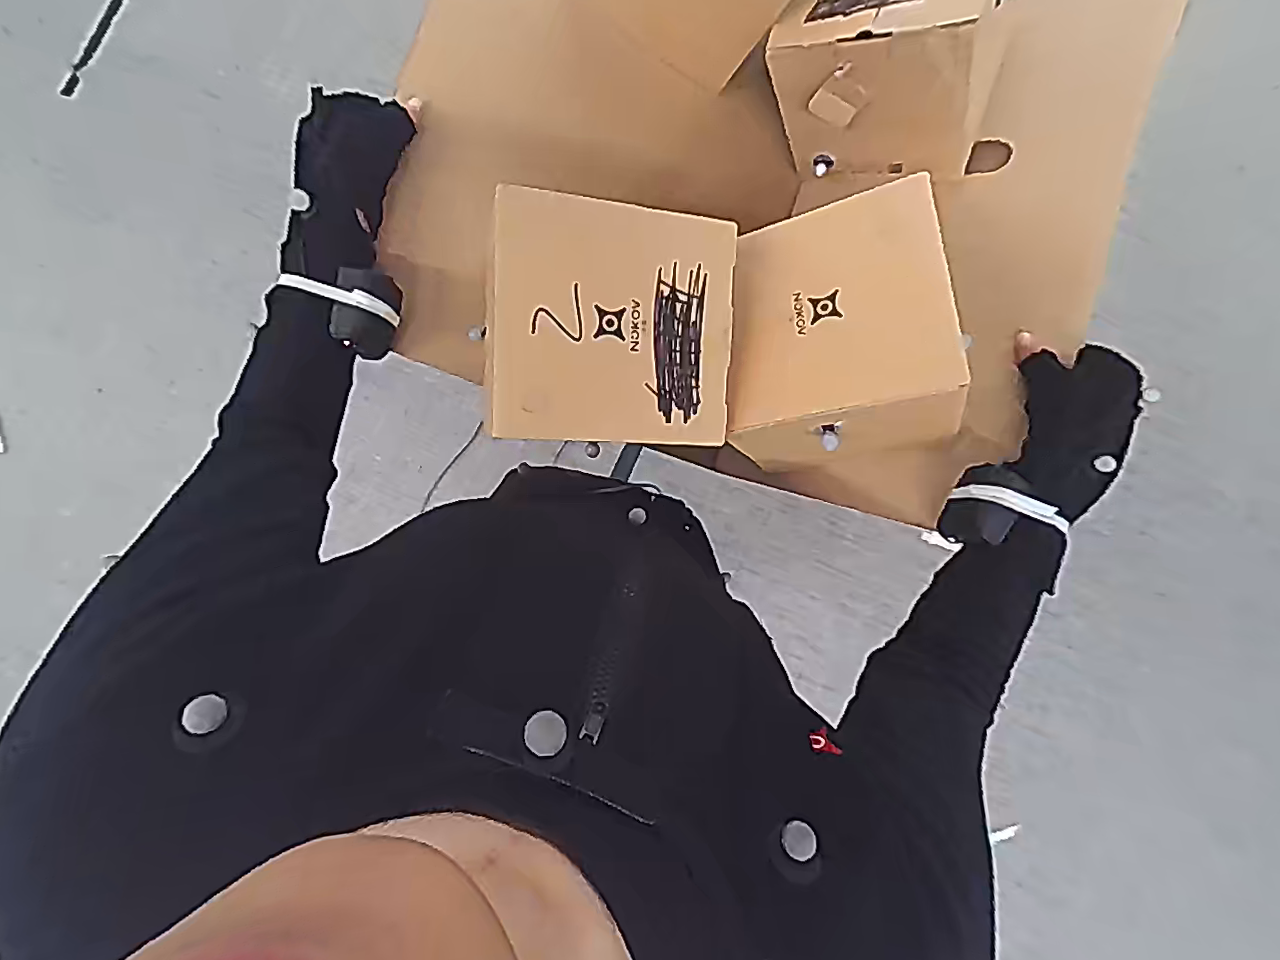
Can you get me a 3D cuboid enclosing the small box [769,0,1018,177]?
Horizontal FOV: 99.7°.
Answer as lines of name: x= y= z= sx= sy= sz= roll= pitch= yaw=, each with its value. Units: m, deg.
small box: x=0.244 y=-0.415 z=0.507 sx=0.168 sy=0.176 sz=0.179 roll=19 pitch=86 yaw=29
